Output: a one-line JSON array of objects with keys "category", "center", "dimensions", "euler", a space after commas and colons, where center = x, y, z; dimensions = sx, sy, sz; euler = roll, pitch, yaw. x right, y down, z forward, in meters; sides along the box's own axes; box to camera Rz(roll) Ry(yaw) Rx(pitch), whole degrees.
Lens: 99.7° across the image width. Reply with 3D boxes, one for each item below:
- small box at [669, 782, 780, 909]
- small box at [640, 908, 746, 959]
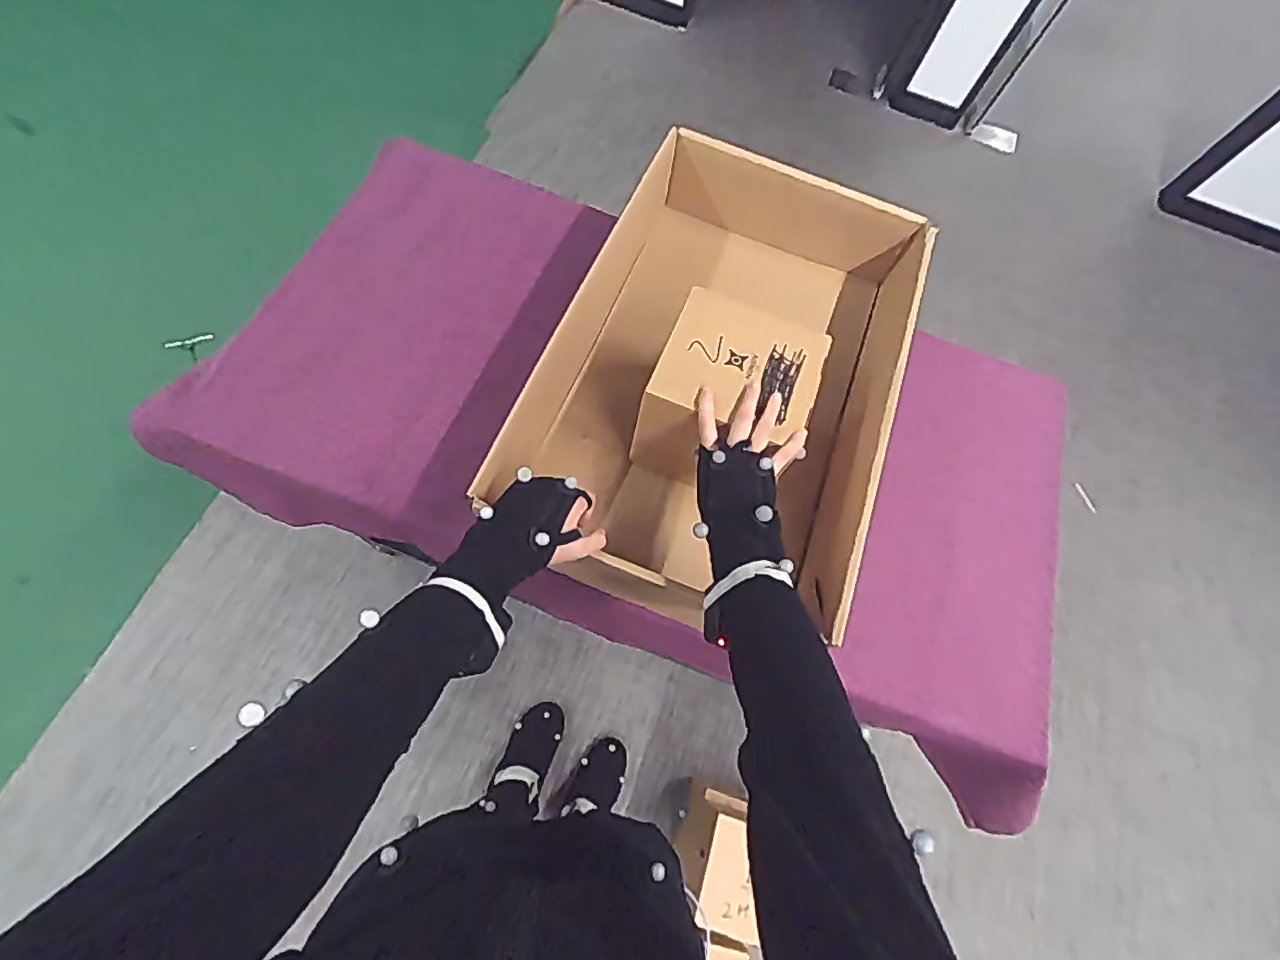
[{"category": "small box", "center": [0.178, 0.783, 1.181], "dimensions": [0.179, 0.176, 0.168], "euler": [20, 68, 2]}, {"category": "small box", "center": [0.092, 1.001, 1.087], "dimensions": [0.179, 0.176, 0.168], "euler": [17, 67, -1]}]
